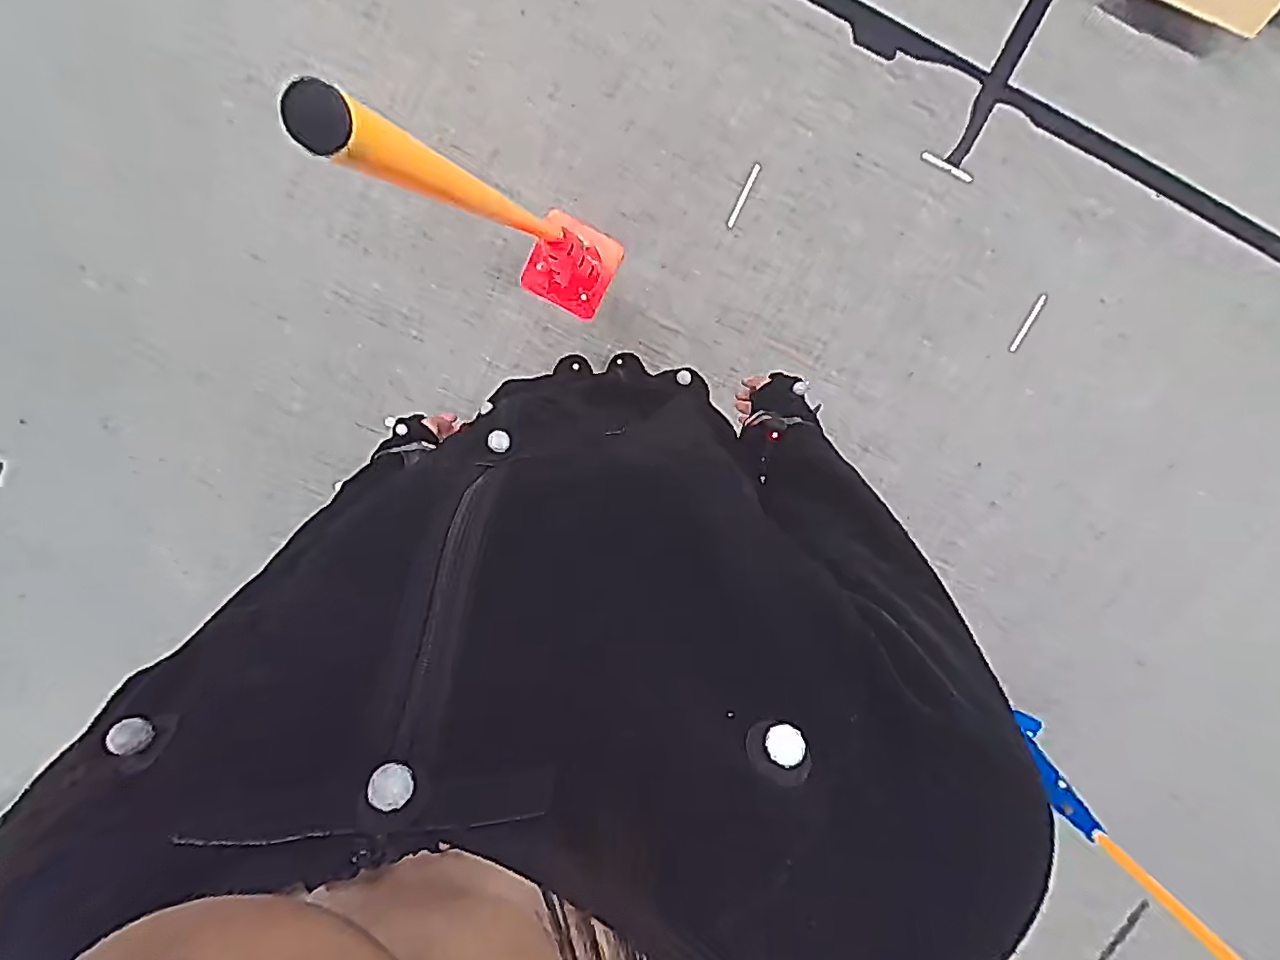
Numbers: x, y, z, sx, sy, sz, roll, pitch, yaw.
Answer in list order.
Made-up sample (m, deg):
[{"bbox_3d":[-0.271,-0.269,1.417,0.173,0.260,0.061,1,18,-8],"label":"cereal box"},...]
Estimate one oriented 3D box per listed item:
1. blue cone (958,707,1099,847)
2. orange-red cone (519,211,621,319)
[{"bbox_3d":[1.095,0.826,1.489,0.193,0.380,0.192,28,101,-7],"label":"blue cone"},{"bbox_3d":[-0.162,-0.478,1.134,0.198,0.360,0.199,28,100,-8],"label":"orange-red cone"}]
